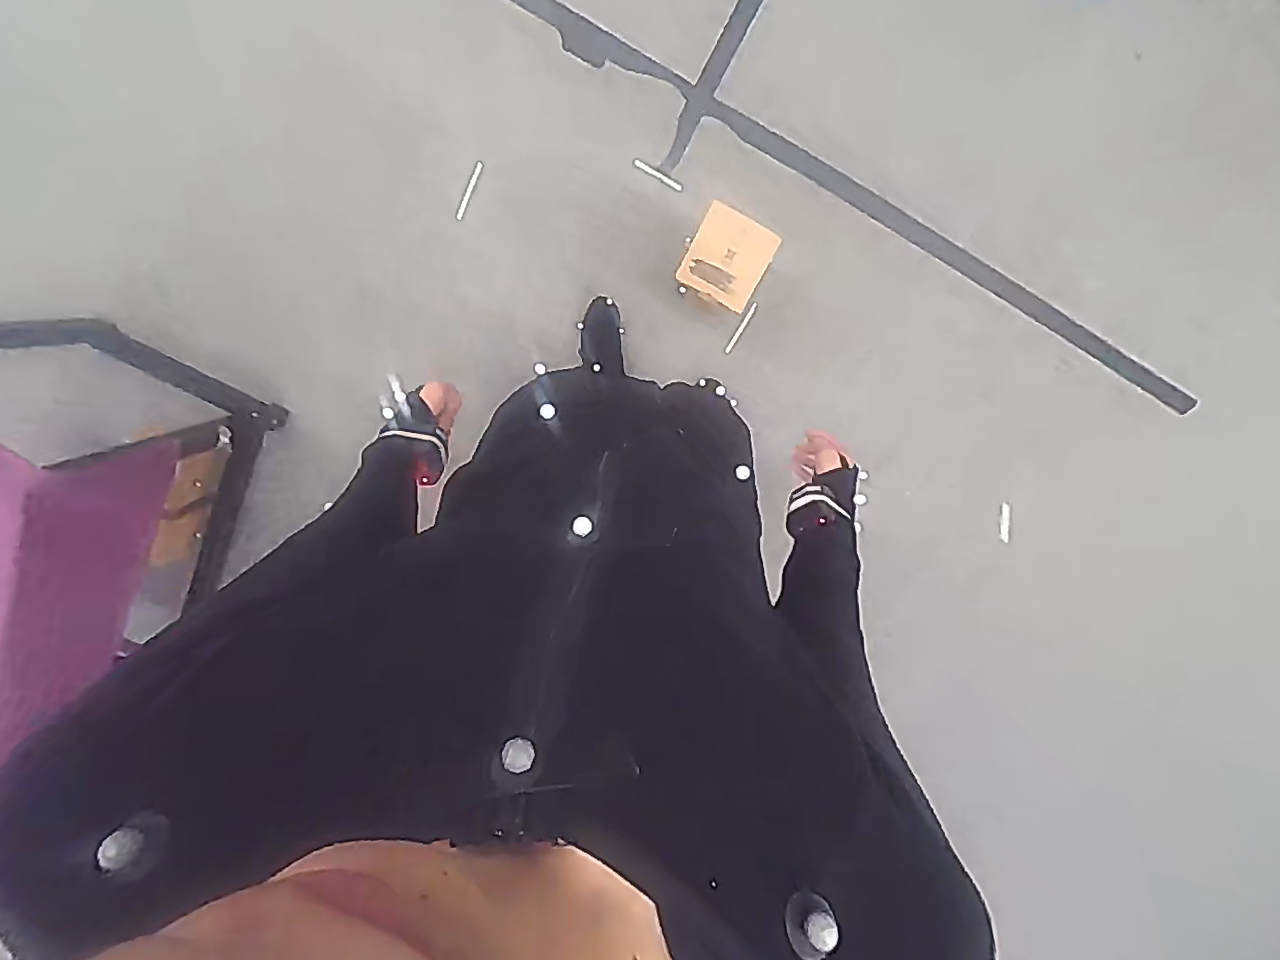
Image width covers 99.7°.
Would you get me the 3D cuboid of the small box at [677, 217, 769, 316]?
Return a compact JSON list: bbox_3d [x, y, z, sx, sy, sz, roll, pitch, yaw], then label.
[{"bbox_3d":[0.199,-0.537,1.373,0.168,0.176,0.179,25,109,-6],"label":"small box"}]
